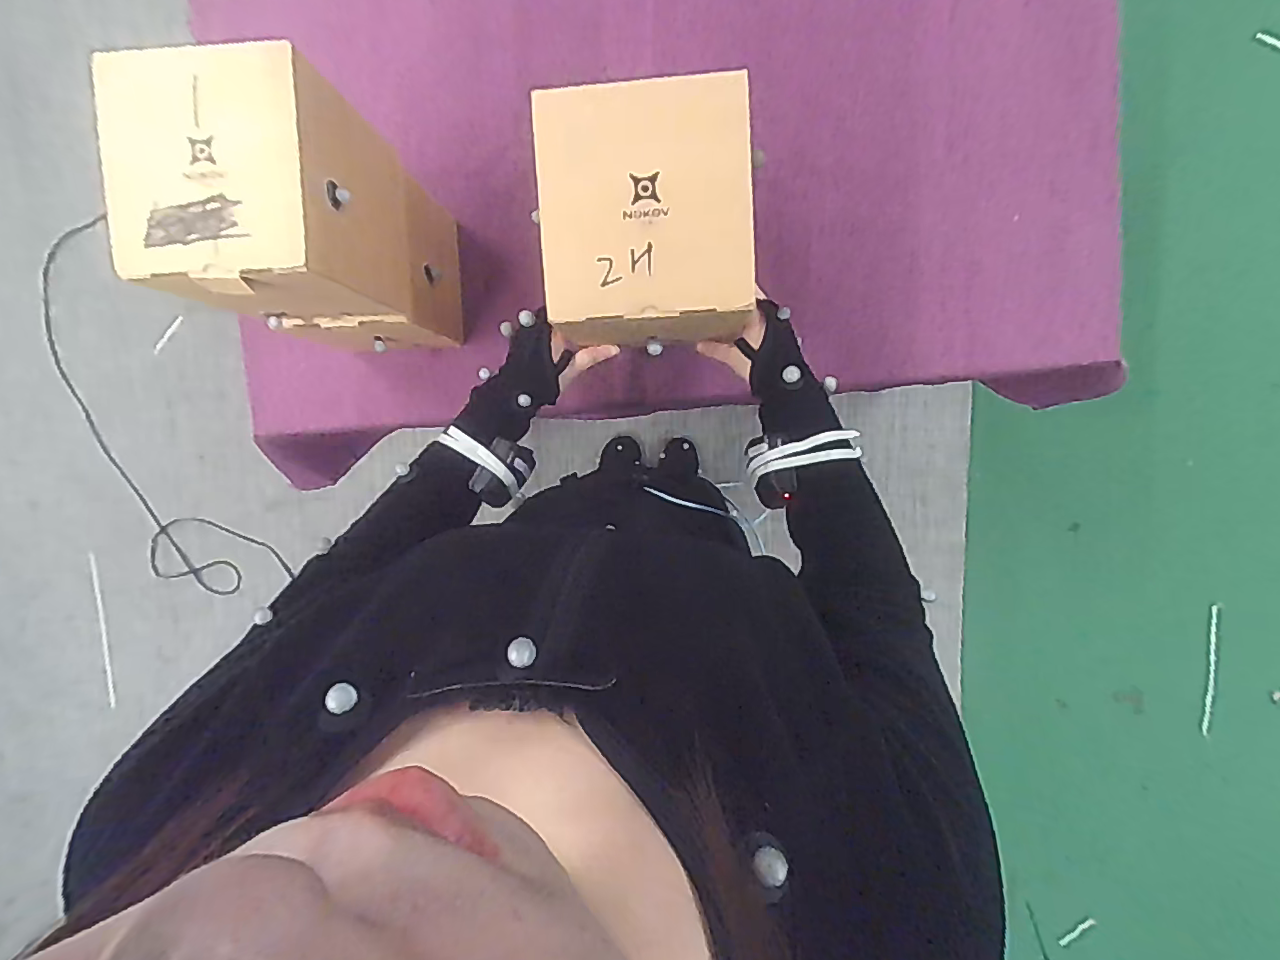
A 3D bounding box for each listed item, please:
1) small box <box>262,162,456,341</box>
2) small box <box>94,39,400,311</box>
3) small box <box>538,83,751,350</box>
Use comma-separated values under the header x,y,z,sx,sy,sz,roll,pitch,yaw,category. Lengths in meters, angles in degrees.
x,y,z,sx,sy,sz,roll,pitch,yaw,category
-0.340,-0.269,0.673,0.168,0.176,0.179,-1,96,1,small box
-0.343,-0.261,0.508,0.168,0.176,0.179,0,95,2,small box
0.007,-0.221,0.498,0.168,0.176,0.179,-1,97,3,small box
